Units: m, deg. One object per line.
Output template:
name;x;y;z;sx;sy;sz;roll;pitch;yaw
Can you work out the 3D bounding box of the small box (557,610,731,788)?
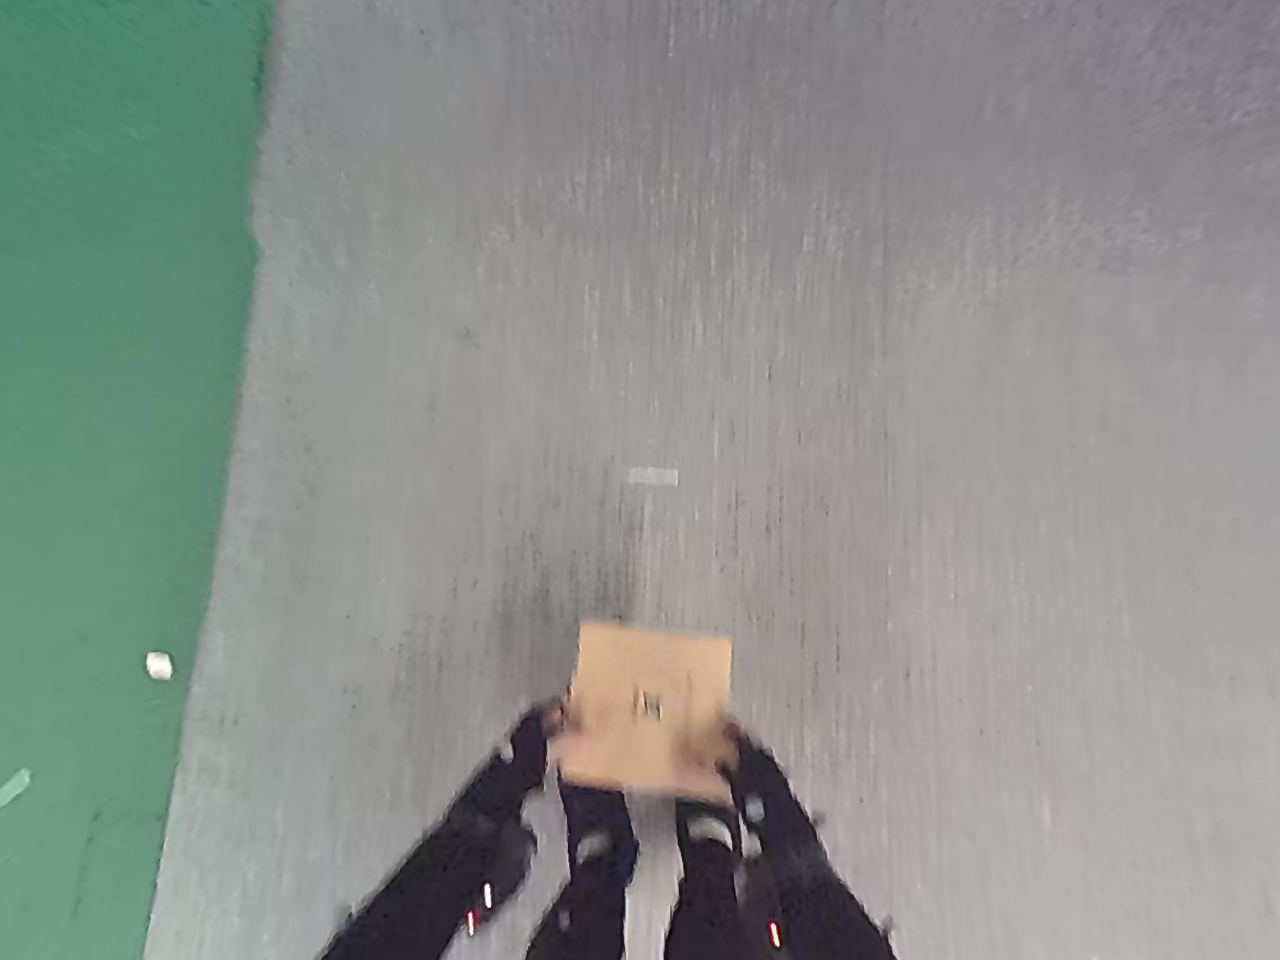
small box;0.009;0.258;0.672;0.179;0.176;0.168;7;76;3
